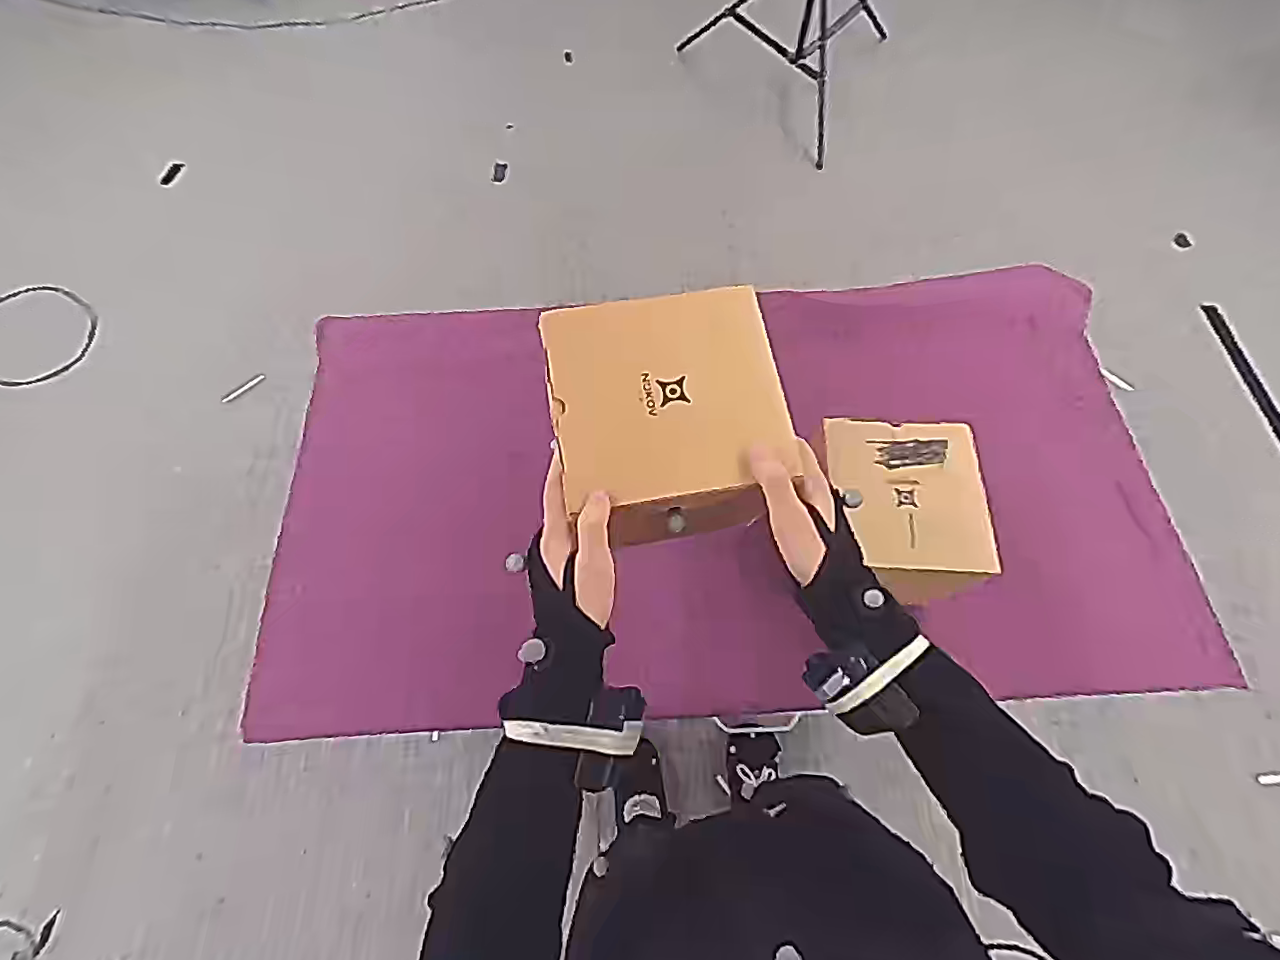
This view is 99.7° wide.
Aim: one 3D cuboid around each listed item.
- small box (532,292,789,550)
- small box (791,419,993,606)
[{"bbox_3d":[0.009,-0.040,0.487,0.179,0.176,0.168,-10,74,-4],"label":"small box"},{"bbox_3d":[0.285,0.046,0.658,0.168,0.176,0.179,3,67,3],"label":"small box"}]
